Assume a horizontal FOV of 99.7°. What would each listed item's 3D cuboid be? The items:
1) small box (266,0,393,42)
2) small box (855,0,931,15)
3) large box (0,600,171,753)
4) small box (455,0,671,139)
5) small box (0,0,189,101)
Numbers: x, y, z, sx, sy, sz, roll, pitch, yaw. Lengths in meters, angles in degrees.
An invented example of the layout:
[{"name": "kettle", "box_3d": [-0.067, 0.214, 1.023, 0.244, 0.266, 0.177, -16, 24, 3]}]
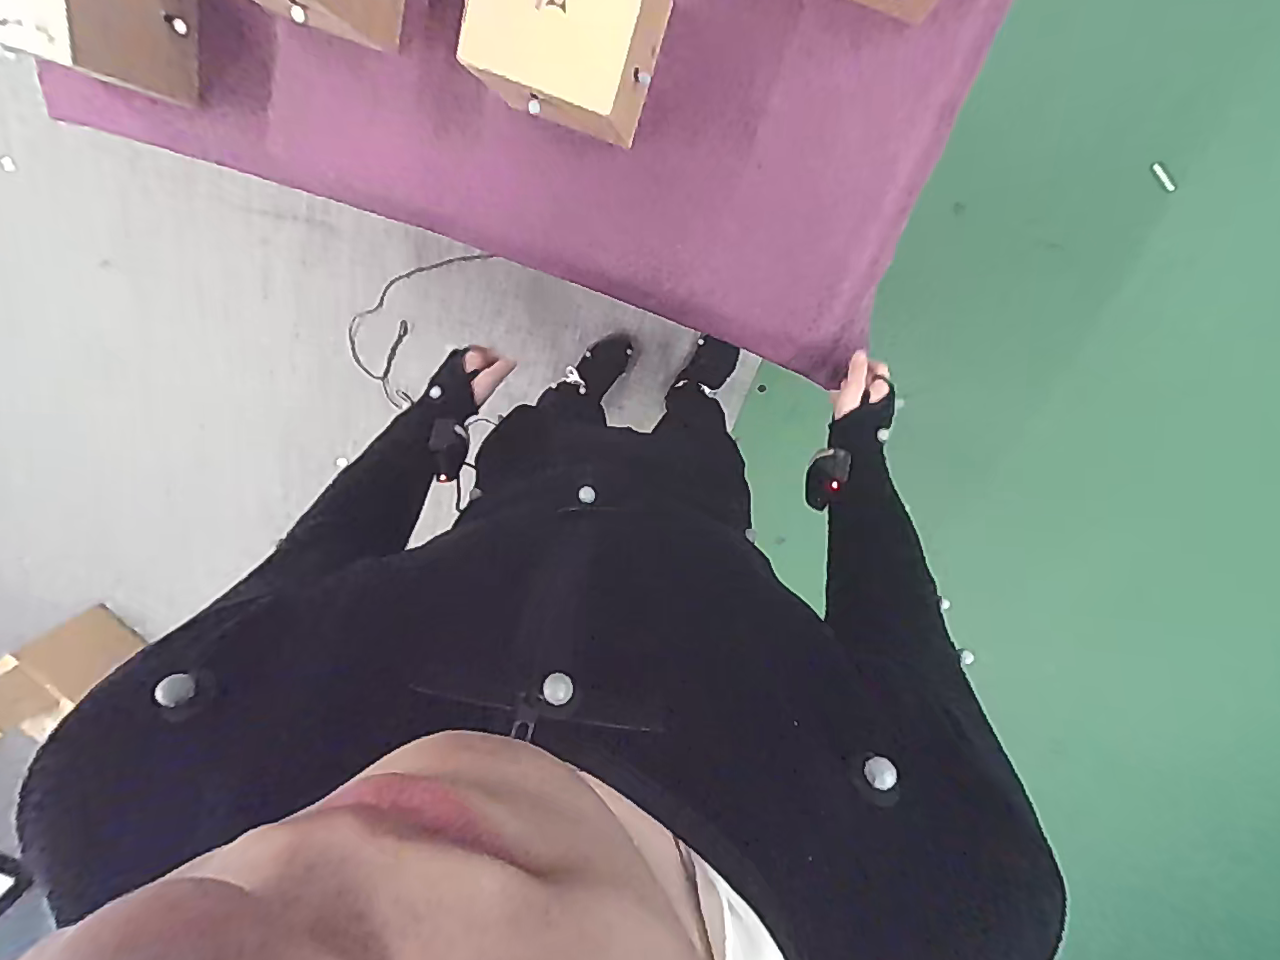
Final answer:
[{"name": "small box", "box_3d": [-0.383, -0.624, 0.592, 0.179, 0.176, 0.168, 21, 112, -1]}, {"name": "small box", "box_3d": [0.260, -0.597, 0.521, 0.179, 0.176, 0.168, 22, 114, -1]}, {"name": "large box", "box_3d": [-2.179, 0.752, 2.090, 0.320, 0.320, 0.408, -35, 104, 20]}, {"name": "small box", "box_3d": [-0.075, -0.507, 0.604, 0.179, 0.176, 0.168, 21, 113, 0]}, {"name": "small box", "box_3d": [-0.682, -0.595, 0.641, 0.168, 0.176, 0.179, 18, 111, 0]}]
